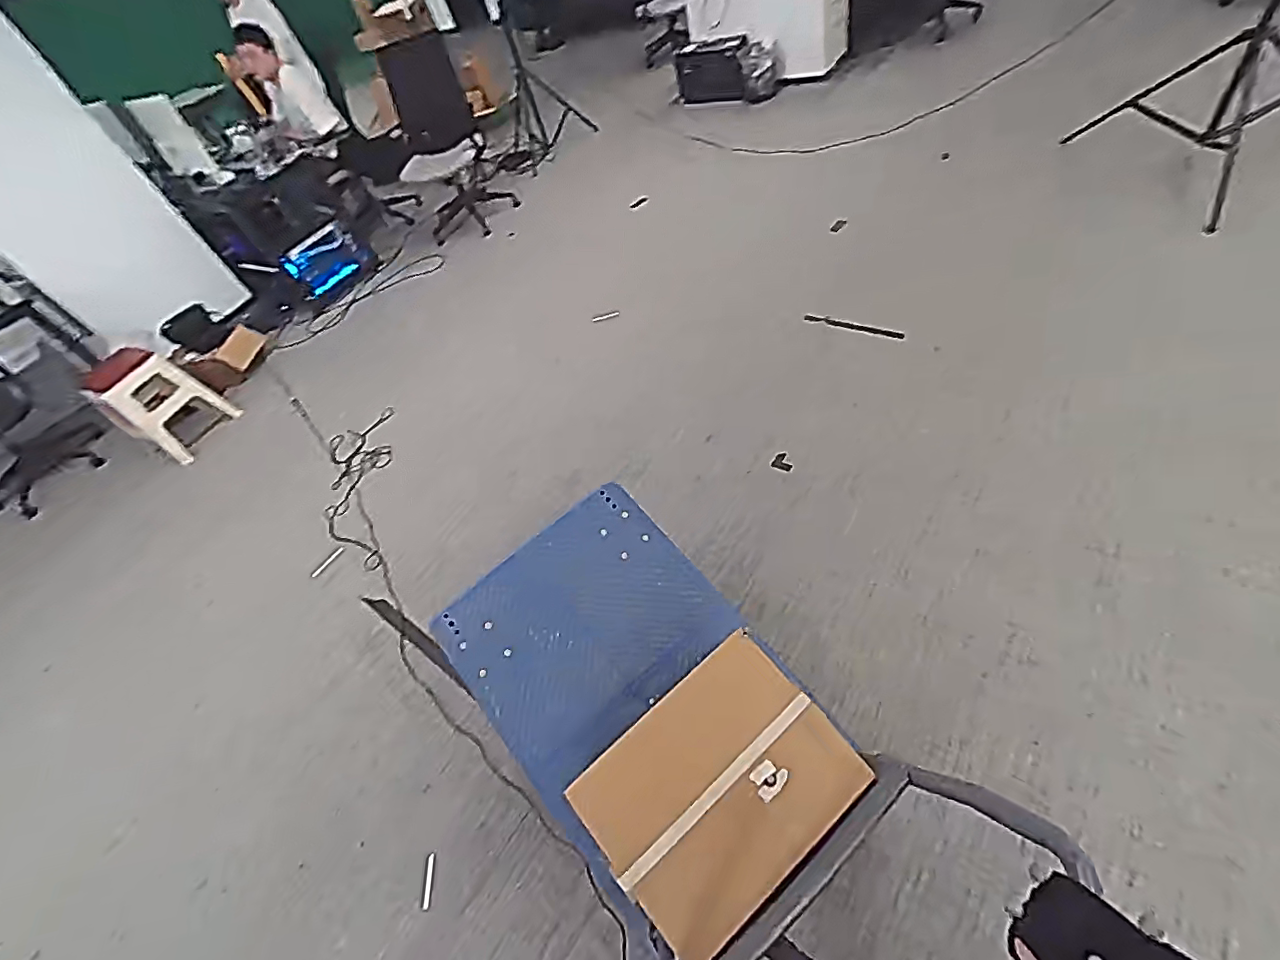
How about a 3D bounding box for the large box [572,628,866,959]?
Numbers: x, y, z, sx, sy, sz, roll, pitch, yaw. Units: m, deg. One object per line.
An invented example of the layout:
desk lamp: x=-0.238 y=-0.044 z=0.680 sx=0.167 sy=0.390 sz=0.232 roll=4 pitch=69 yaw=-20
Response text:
large box: x=0.134 y=0.556 z=1.026 sx=0.408 sy=0.320 sz=0.320 roll=-39 pitch=71 yaw=-15
